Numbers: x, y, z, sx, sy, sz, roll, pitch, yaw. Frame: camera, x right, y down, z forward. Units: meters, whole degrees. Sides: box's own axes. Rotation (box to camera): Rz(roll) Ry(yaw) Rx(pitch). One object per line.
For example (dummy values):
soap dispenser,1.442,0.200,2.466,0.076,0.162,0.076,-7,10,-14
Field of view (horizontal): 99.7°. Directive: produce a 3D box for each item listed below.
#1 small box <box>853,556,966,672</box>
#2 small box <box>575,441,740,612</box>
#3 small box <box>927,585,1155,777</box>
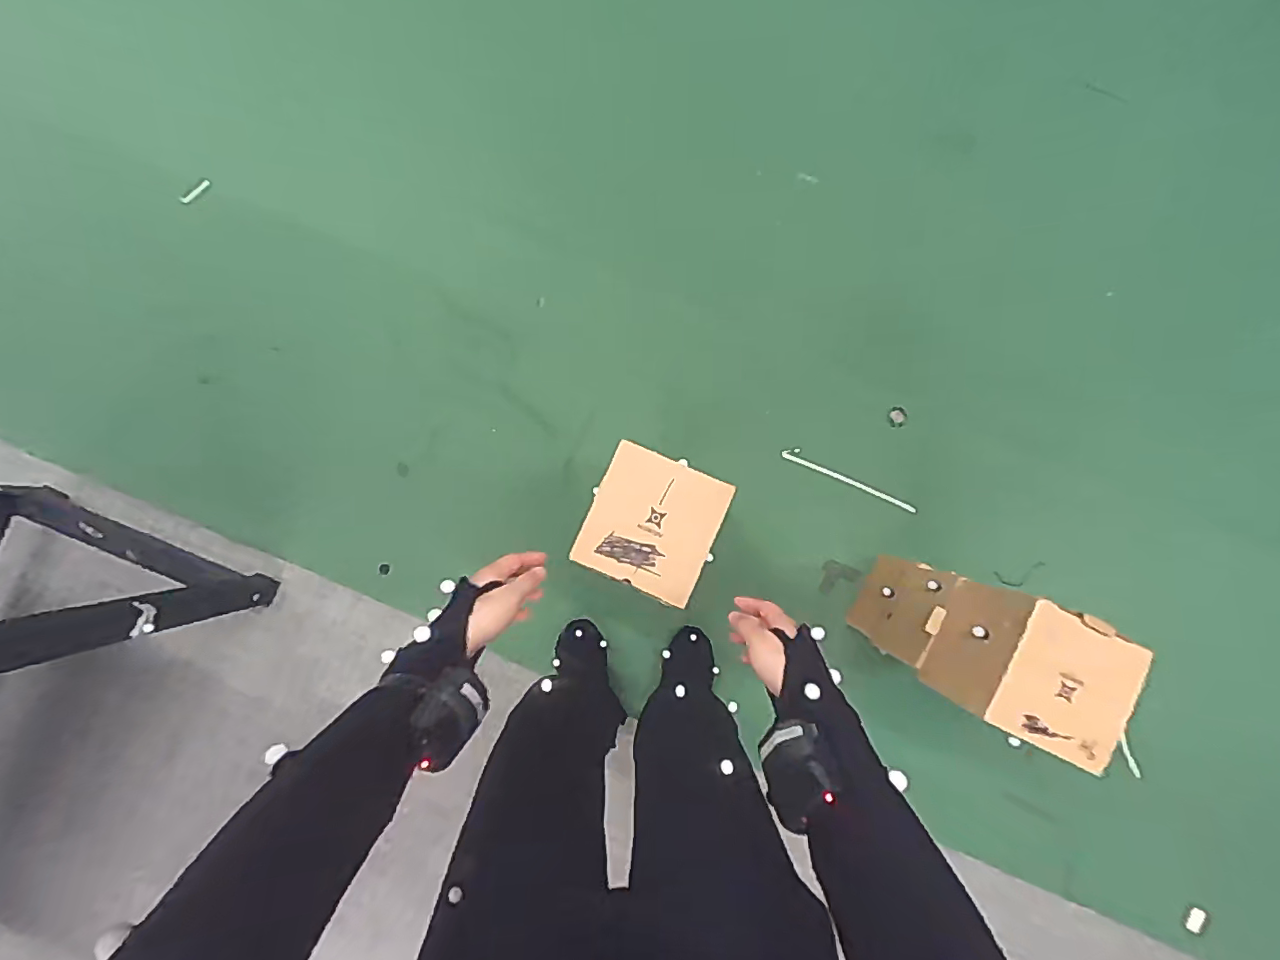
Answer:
small box,0.559,0.273,1.095,0.168,0.176,0.179,31,88,1
small box,0.026,0.063,0.778,0.168,0.176,0.179,24,88,2
small box,0.548,0.267,0.766,0.168,0.176,0.179,26,87,0
